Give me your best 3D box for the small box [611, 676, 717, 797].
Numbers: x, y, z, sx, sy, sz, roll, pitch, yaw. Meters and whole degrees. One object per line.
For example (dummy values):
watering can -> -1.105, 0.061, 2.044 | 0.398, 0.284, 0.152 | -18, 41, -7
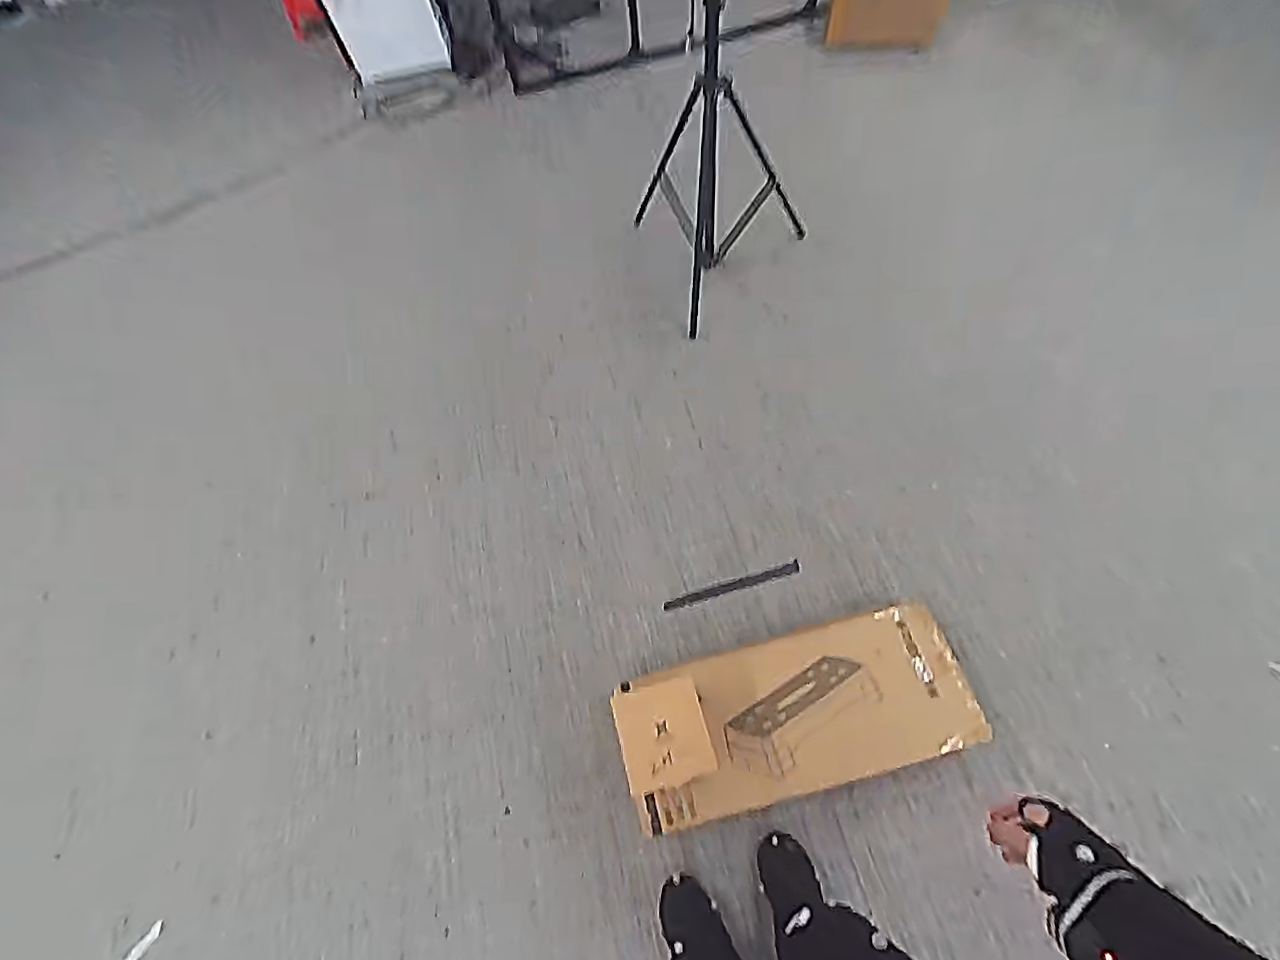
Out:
small box -> 0.048, 0.512, 1.078 | 0.168, 0.176, 0.179 | -16, 62, -2
